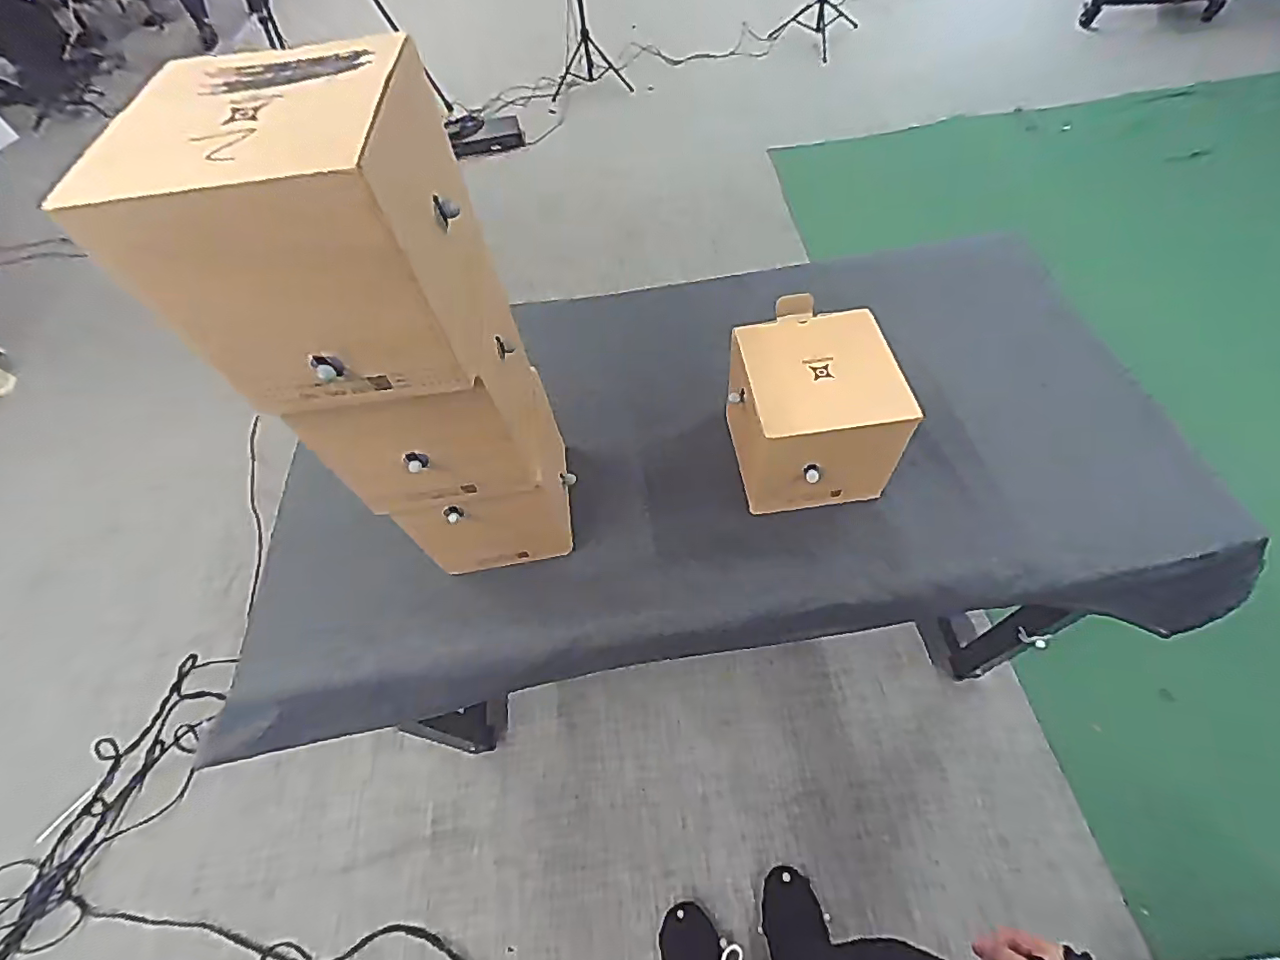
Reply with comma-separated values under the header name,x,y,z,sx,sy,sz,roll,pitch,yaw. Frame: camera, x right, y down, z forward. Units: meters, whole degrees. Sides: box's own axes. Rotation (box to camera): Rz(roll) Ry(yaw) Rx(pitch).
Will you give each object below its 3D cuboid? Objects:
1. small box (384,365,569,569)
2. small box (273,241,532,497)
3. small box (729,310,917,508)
name,x,y,z,sx,sy,sz,roll,pitch,yaw
small box,-0.186,-0.012,0.666,0.168,0.176,0.179,-9,56,0
small box,-0.204,-0.096,0.524,0.168,0.176,0.179,-8,56,-1
small box,0.207,-0.078,0.671,0.168,0.176,0.179,-7,56,1
